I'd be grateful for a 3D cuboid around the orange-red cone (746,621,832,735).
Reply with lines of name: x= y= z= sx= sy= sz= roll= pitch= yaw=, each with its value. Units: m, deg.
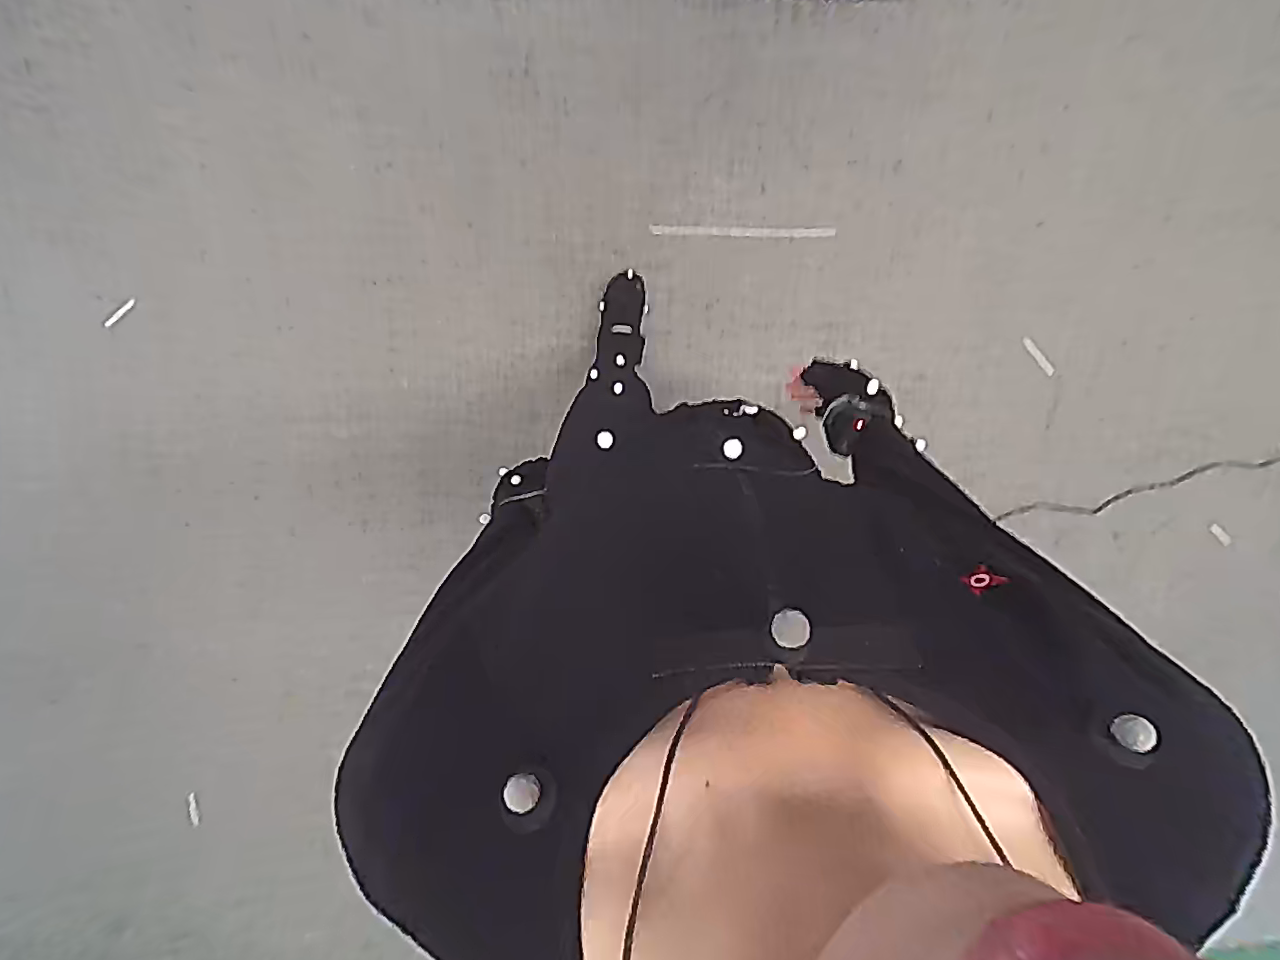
orange-red cone: x=0.432 y=0.558 z=1.457 sx=0.198 sy=0.360 sz=0.199 roll=4 pitch=102 yaw=-4
